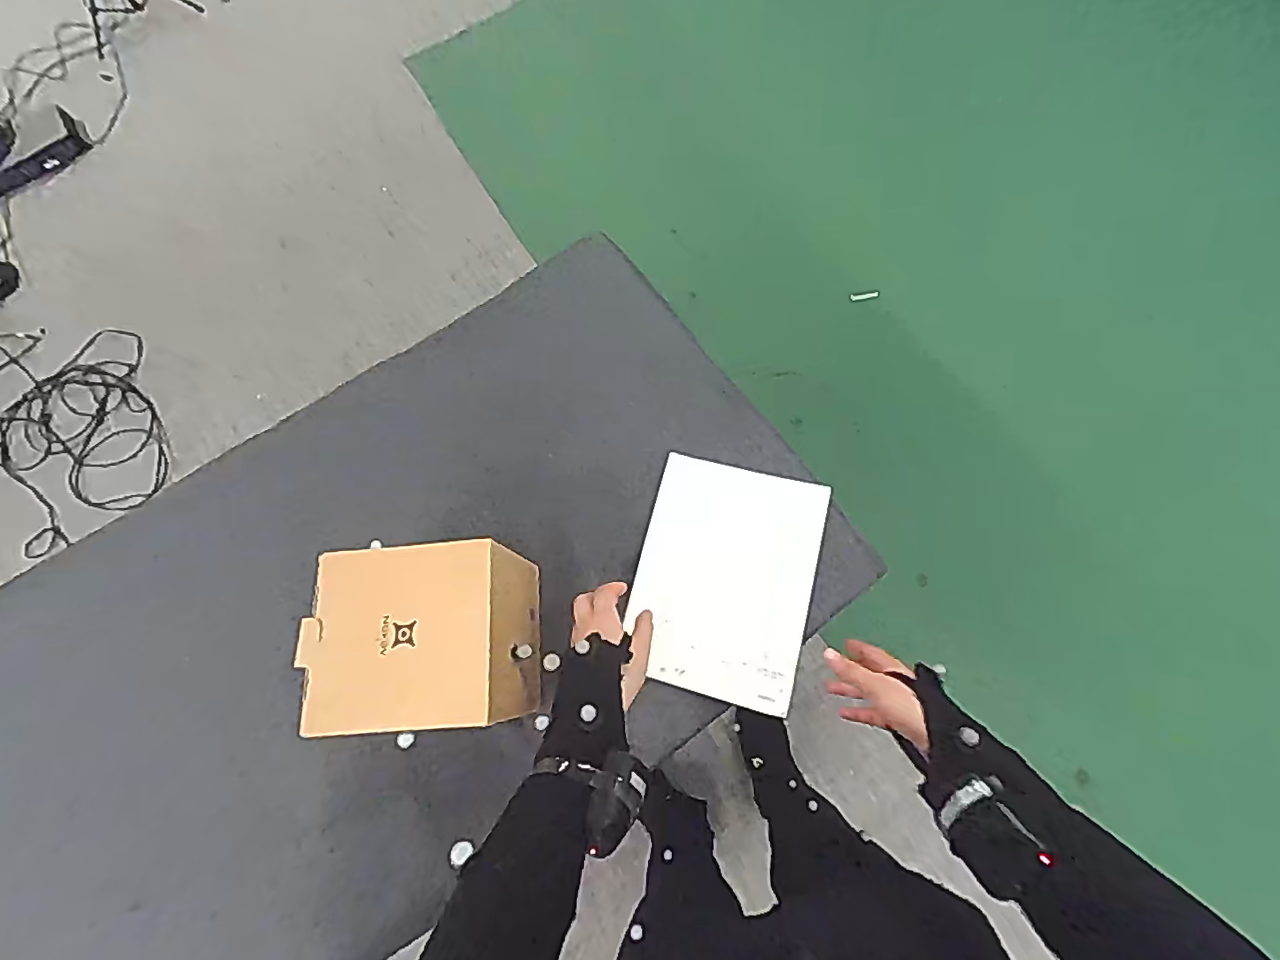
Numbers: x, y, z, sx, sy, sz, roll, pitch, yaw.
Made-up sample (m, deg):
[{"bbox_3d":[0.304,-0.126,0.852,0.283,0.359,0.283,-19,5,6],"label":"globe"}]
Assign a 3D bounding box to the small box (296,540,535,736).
[{"bbox_3d":[-0.213,0.162,0.565,0.179,0.176,0.168,-6,72,5],"label":"small box"}]
